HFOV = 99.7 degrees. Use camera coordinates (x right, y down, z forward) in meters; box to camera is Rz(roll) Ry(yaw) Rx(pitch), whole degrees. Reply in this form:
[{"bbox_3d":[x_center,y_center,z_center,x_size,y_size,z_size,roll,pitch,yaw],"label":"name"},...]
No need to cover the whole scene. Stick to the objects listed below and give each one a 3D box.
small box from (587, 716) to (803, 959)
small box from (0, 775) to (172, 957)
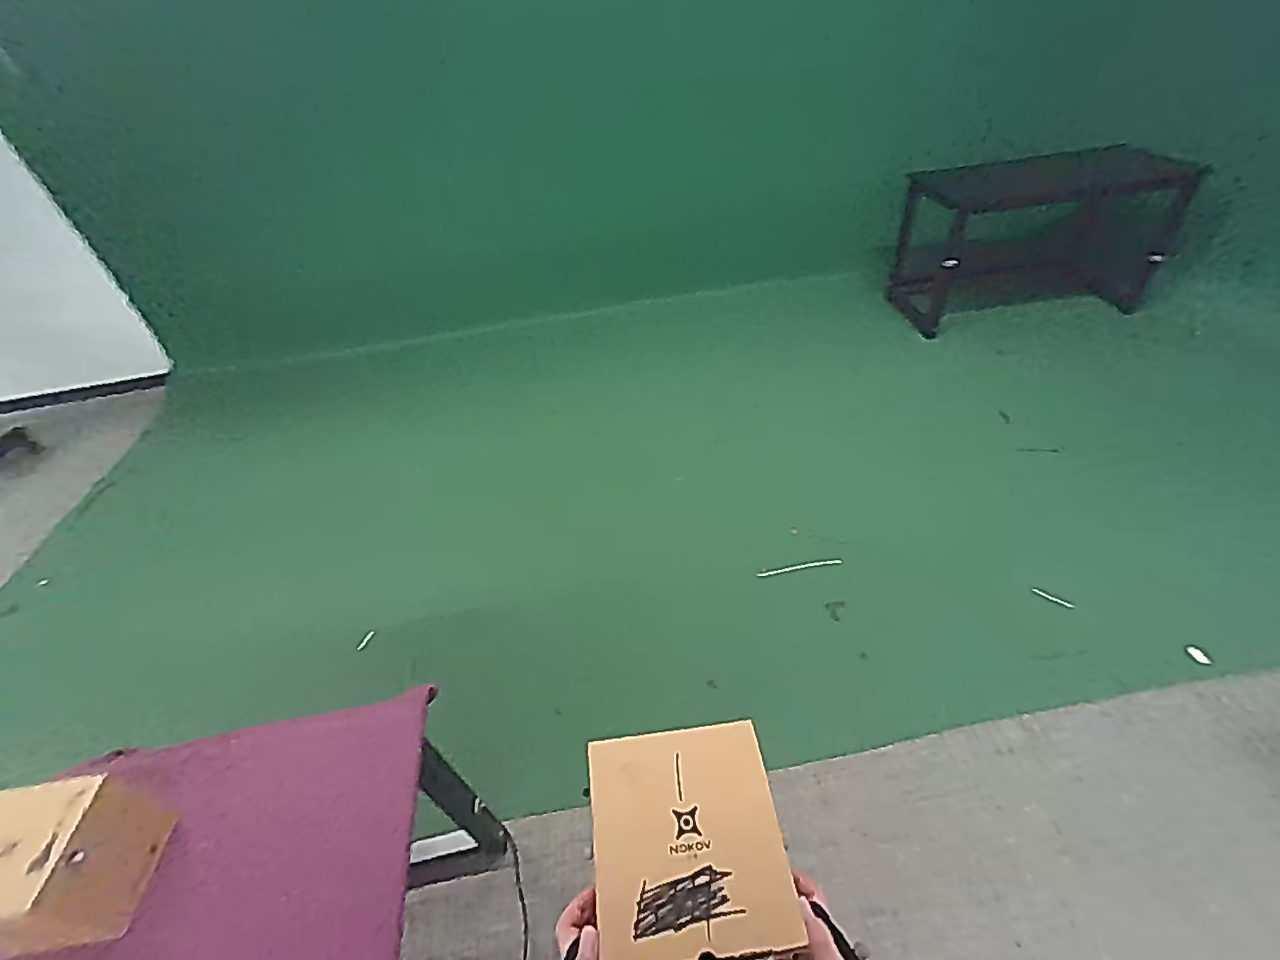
[{"bbox_3d":[0.040,0.353,0.524,0.168,0.176,0.179,-5,47,-4],"label":"small box"},{"bbox_3d":[-0.840,0.548,0.766,0.179,0.176,0.168,-9,43,-1],"label":"small box"}]
